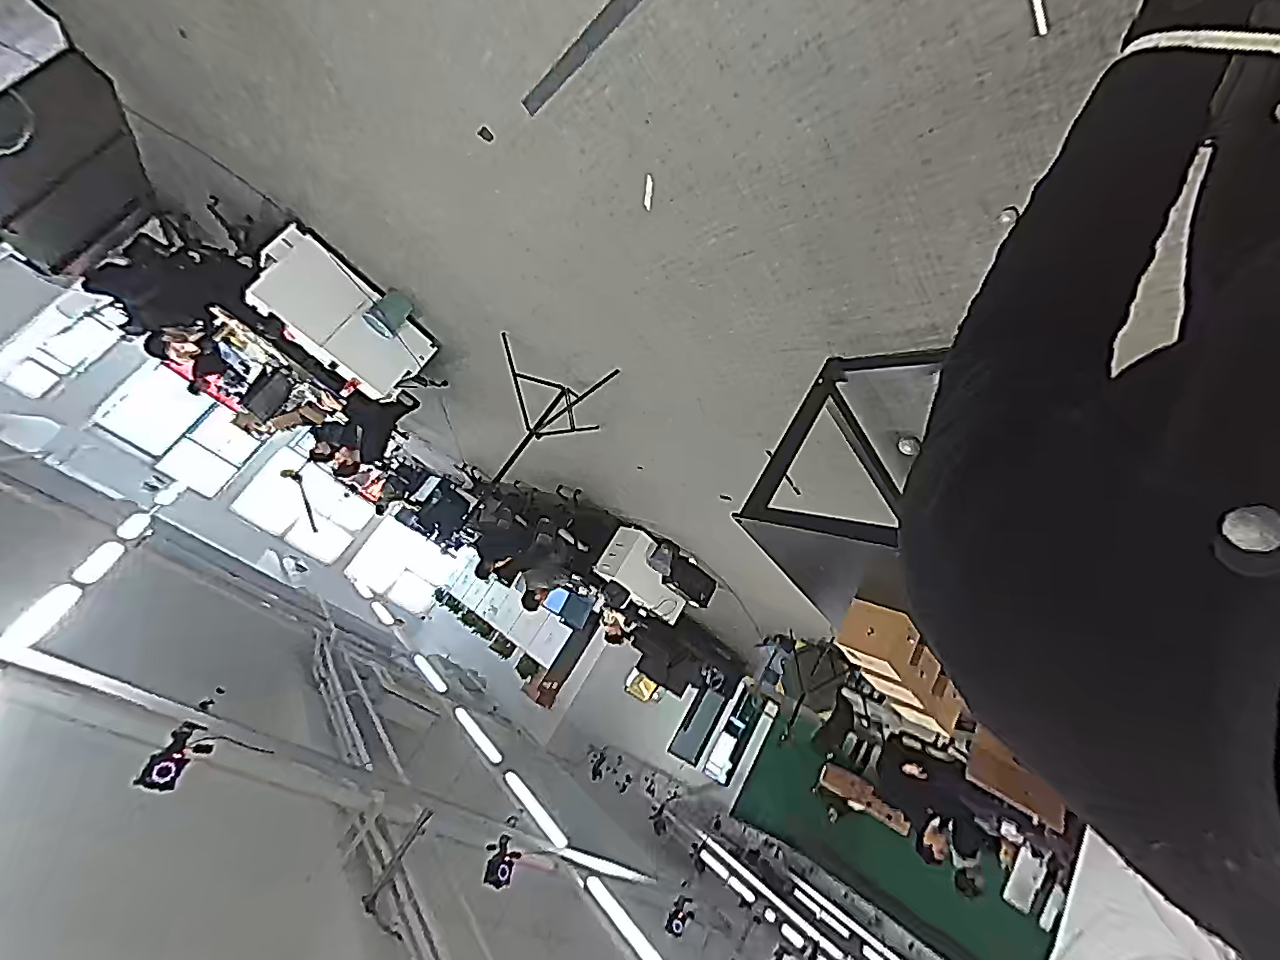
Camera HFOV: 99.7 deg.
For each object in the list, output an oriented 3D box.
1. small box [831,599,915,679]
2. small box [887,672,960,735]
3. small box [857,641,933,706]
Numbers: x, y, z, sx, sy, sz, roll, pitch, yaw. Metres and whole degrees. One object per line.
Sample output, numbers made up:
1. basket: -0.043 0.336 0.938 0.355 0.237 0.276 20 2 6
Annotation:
1. small box: 0.756 0.507 1.749 0.179 0.176 0.168 10 152 48
2. small box: 1.063 0.811 2.023 0.179 0.176 0.168 45 159 -30
3. small box: 0.900 0.652 1.892 0.168 0.176 0.179 45 159 -31
